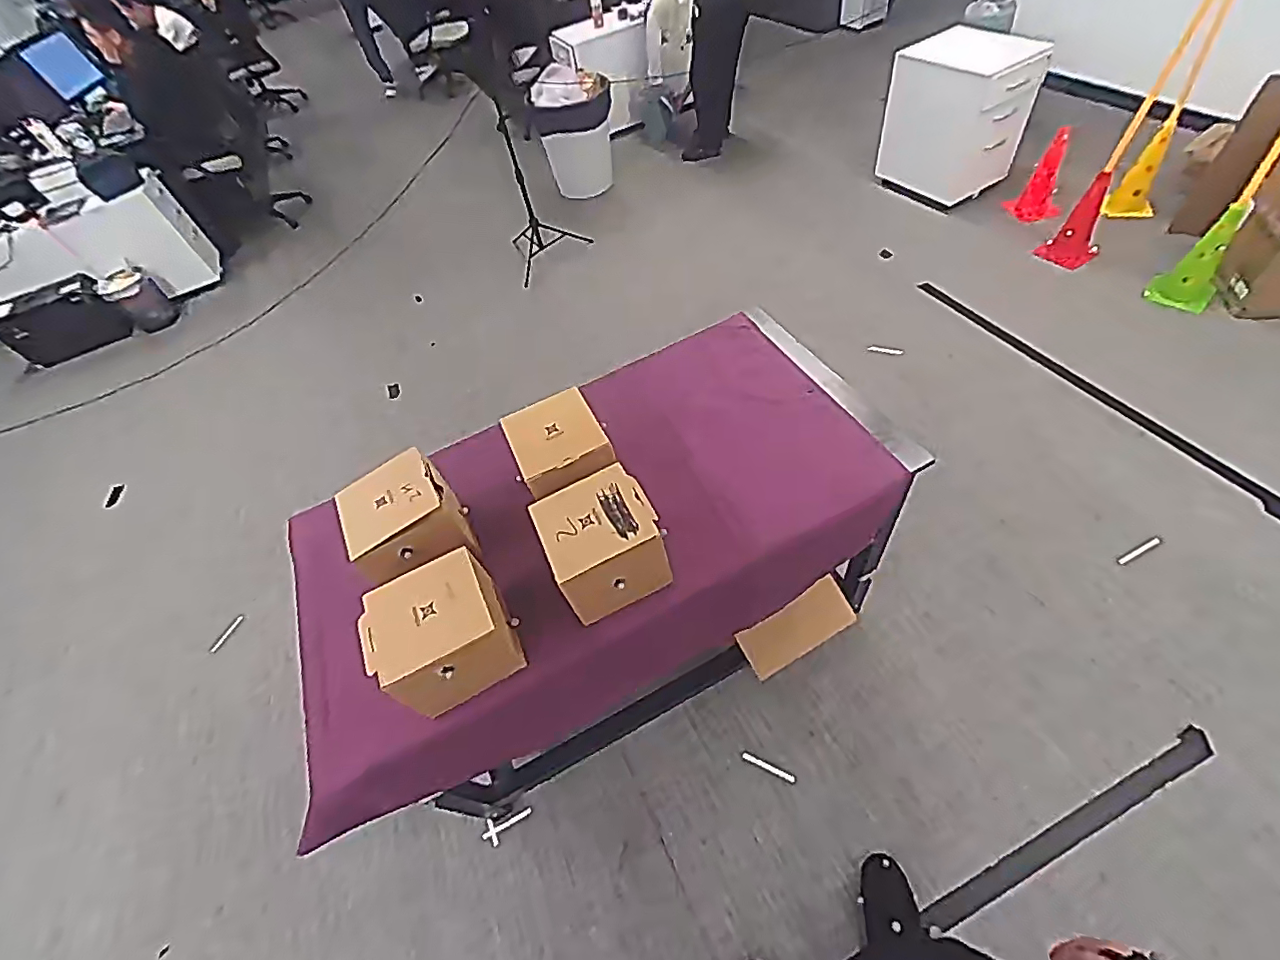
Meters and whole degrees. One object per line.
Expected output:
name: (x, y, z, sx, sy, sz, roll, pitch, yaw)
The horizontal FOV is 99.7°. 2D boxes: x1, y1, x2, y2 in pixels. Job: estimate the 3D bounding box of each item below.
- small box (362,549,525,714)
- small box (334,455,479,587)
small box: (-0.312, 0.249, 0.874, 0.179, 0.176, 0.168, -27, 54, -10)
small box: (-0.432, 0.092, 1.012, 0.179, 0.176, 0.168, -28, 54, -11)
